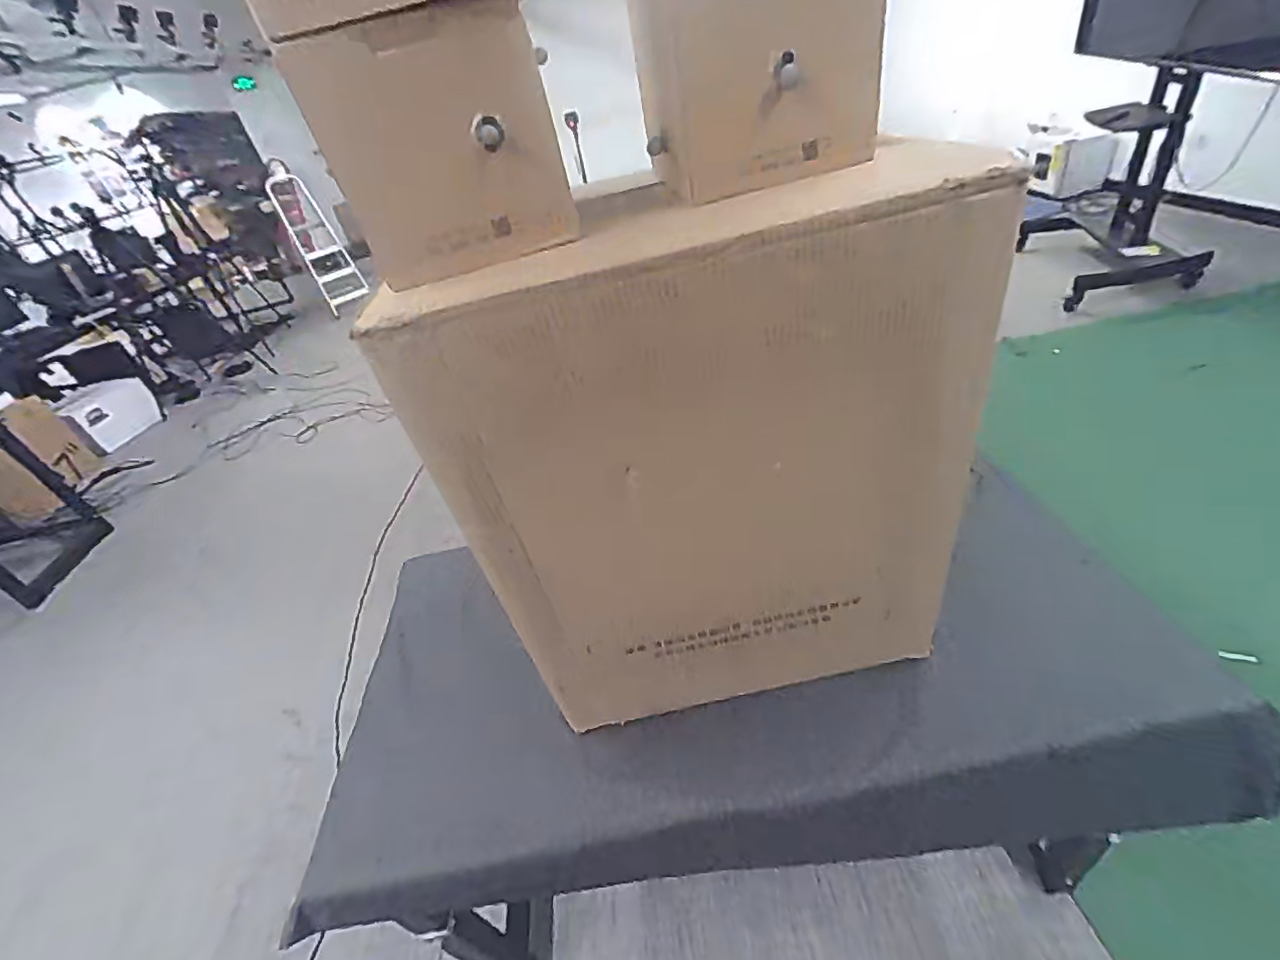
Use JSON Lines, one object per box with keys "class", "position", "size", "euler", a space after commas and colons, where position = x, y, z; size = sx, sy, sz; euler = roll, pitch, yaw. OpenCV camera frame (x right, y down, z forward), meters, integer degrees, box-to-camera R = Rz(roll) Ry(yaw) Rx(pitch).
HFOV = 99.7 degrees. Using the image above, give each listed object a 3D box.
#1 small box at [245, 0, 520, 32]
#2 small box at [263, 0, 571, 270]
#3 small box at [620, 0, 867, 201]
{"class": "small box", "position": [-0.185, -0.406, 0.359], "size": [0.179, 0.176, 0.168], "euler": [-15, 40, 1]}
{"class": "small box", "position": [-0.169, -0.298, 0.461], "size": [0.168, 0.176, 0.179], "euler": [-20, 41, -5]}
{"class": "small box", "position": [0.088, -0.369, 0.482], "size": [0.168, 0.176, 0.179], "euler": [-16, 41, -1]}
